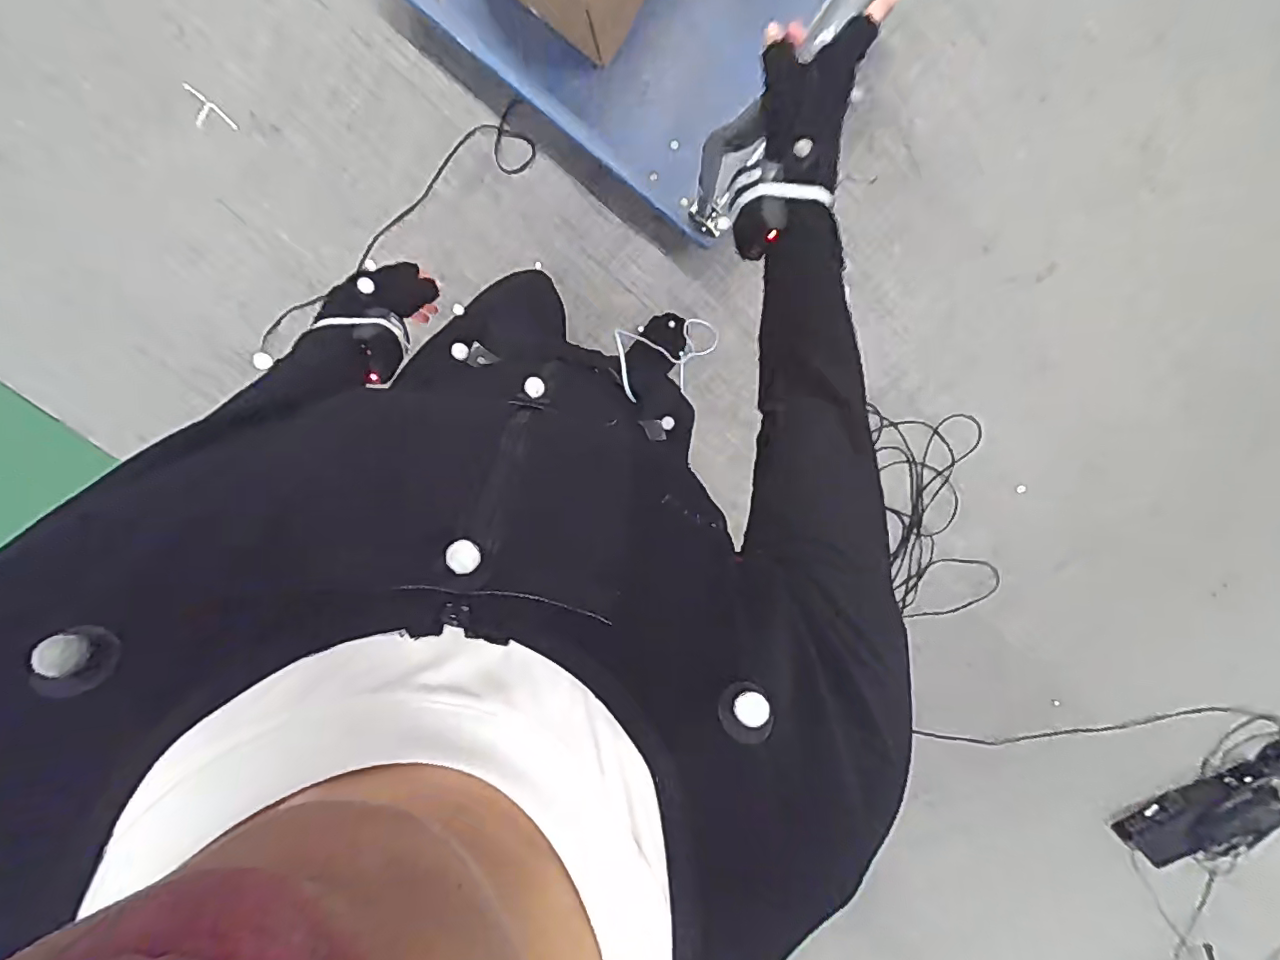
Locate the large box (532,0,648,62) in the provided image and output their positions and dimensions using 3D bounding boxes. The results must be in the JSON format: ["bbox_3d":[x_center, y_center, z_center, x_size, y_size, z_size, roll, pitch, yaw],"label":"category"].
[{"bbox_3d":[-0.070,-0.973,0.812,0.320,0.320,0.408,33,109,-10],"label":"large box"}]
